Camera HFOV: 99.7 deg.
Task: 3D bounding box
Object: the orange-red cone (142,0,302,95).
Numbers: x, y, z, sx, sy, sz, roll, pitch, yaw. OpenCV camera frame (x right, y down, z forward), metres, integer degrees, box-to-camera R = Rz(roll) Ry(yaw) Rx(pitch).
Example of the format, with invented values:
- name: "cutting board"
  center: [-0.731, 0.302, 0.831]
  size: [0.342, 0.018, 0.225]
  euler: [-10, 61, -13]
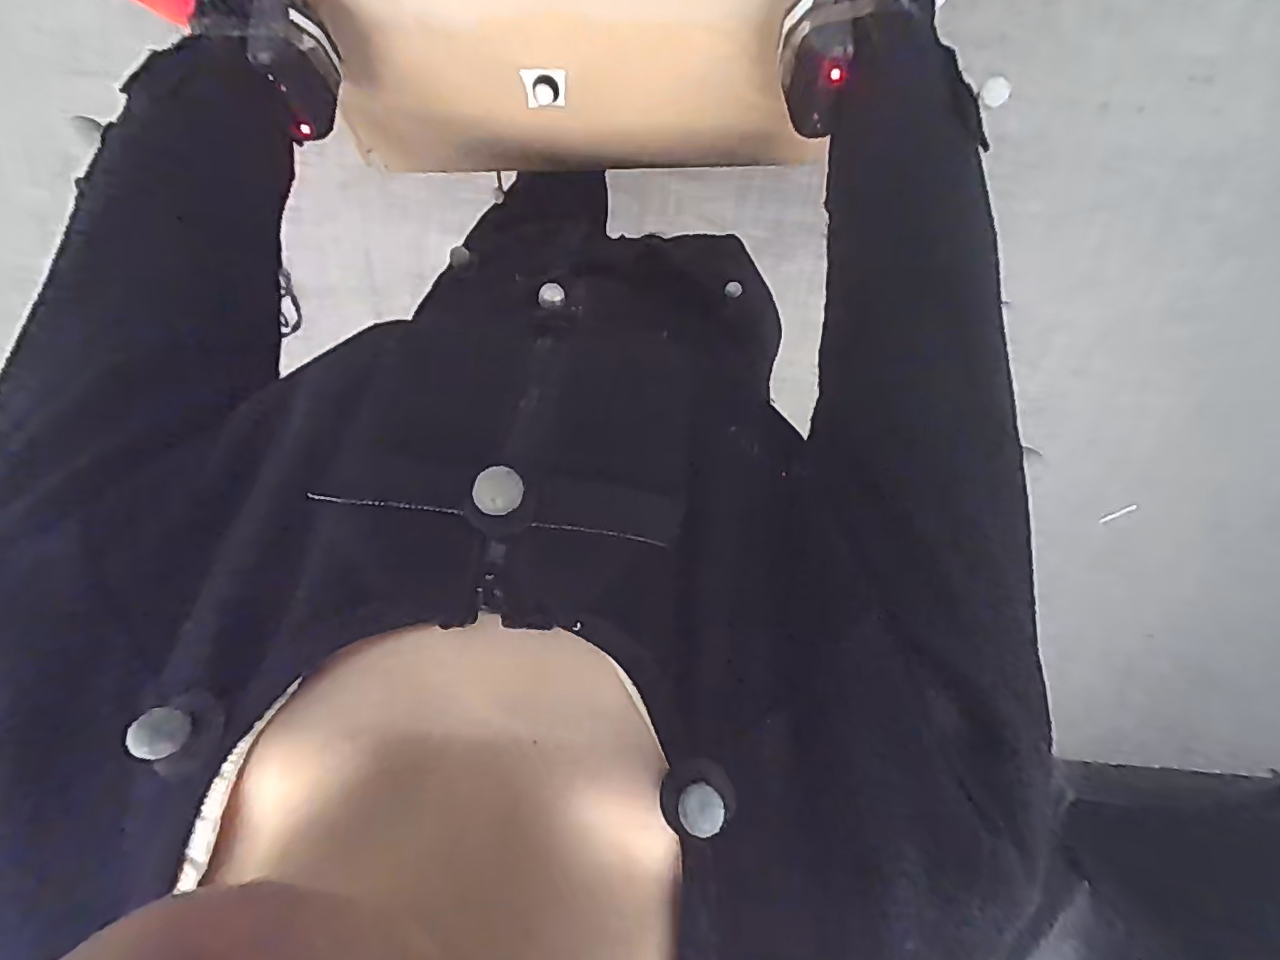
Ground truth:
- name: "orange-red cone"
  center: [-0.750, -0.784, 0.853]
  size: [0.199, 0.360, 0.198]
  euler: [23, 116, -7]
